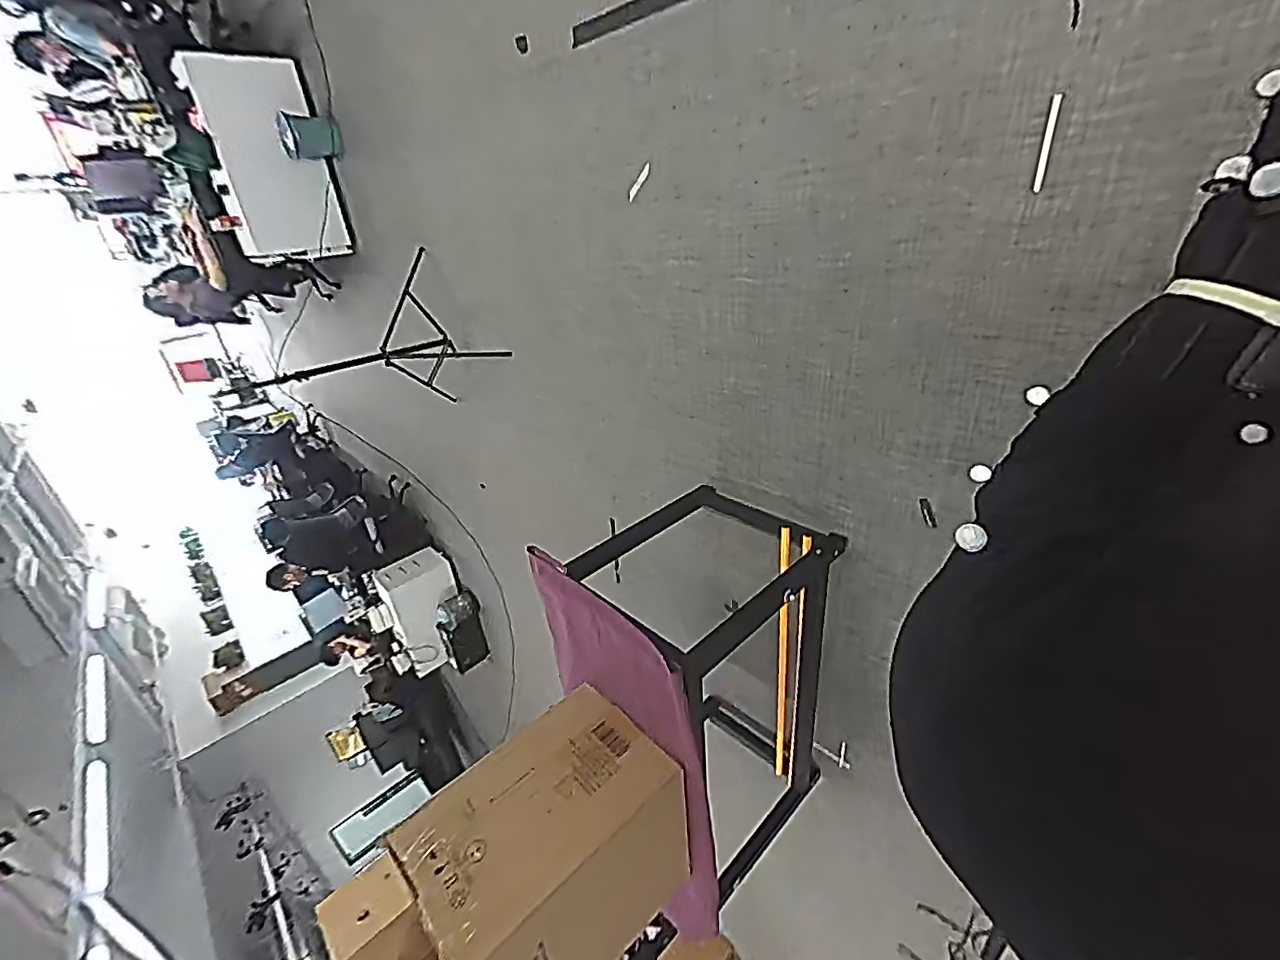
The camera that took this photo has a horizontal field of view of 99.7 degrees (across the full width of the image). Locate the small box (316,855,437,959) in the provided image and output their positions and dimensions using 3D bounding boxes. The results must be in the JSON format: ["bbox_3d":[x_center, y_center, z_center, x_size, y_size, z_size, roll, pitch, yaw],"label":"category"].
[{"bbox_3d":[-0.587,1.004,1.217,0.168,0.176,0.179,18,127,45],"label":"small box"}]
